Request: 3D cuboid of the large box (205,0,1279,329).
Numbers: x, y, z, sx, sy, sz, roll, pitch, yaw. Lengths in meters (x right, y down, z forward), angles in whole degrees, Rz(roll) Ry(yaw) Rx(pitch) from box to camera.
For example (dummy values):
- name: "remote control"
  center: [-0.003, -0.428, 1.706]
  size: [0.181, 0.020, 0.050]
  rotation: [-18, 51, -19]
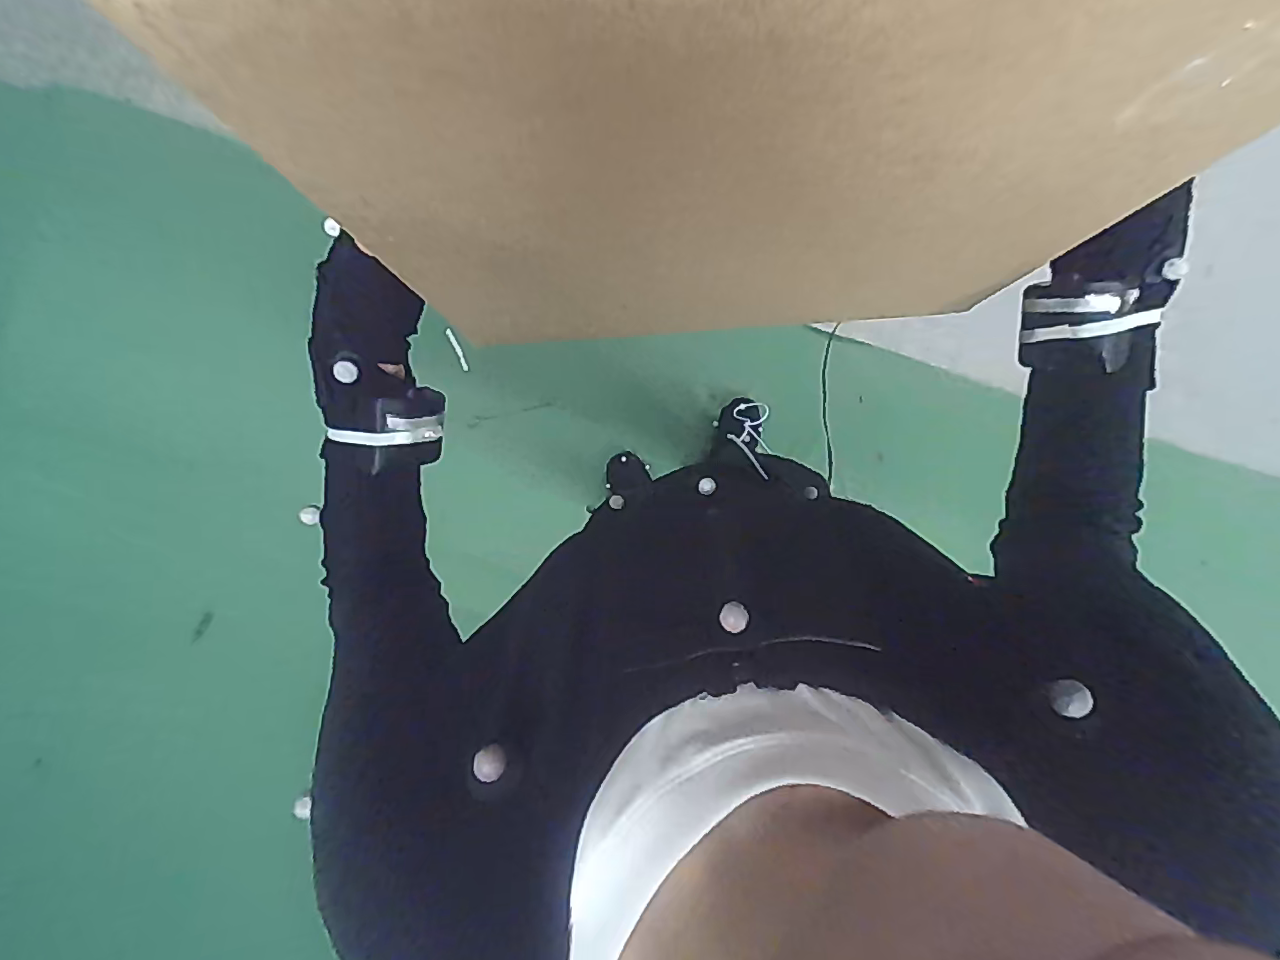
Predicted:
- name: "large box"
  center: [0.058, -0.290, 0.294]
  size: [0.408, 0.320, 0.320]
  rotation: [-3, 89, -1]
